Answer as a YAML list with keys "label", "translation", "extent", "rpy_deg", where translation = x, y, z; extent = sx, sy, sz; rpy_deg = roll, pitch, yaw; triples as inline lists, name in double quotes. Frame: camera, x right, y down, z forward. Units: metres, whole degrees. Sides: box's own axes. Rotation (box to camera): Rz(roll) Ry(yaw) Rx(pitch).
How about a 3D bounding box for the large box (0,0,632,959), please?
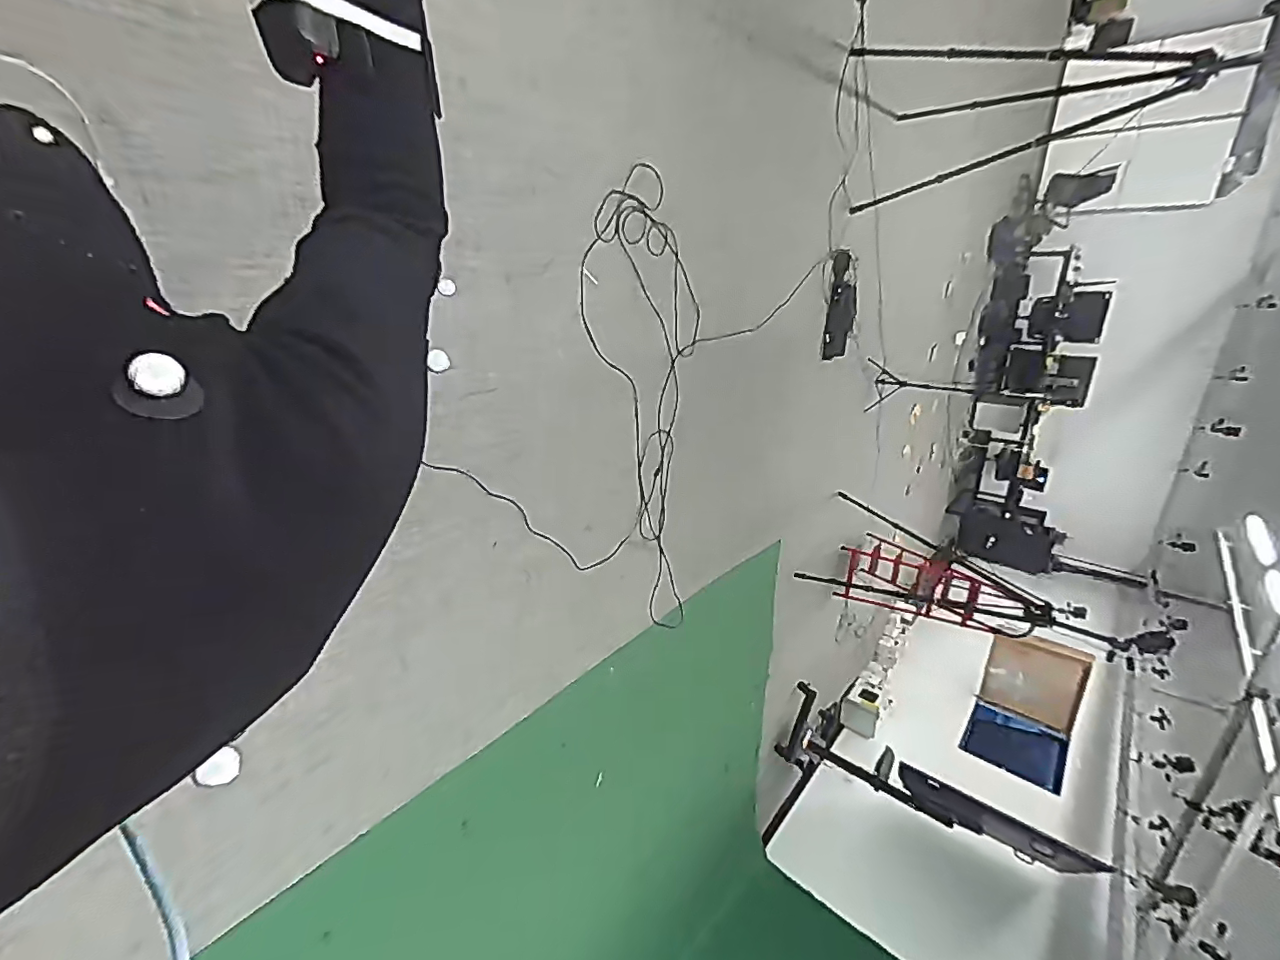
- label: "large box"
  translation: [-0.209, 0.021, 0.307]
  extent: [0.320, 0.320, 0.408]
  rpy_deg: [13, 62, -20]
